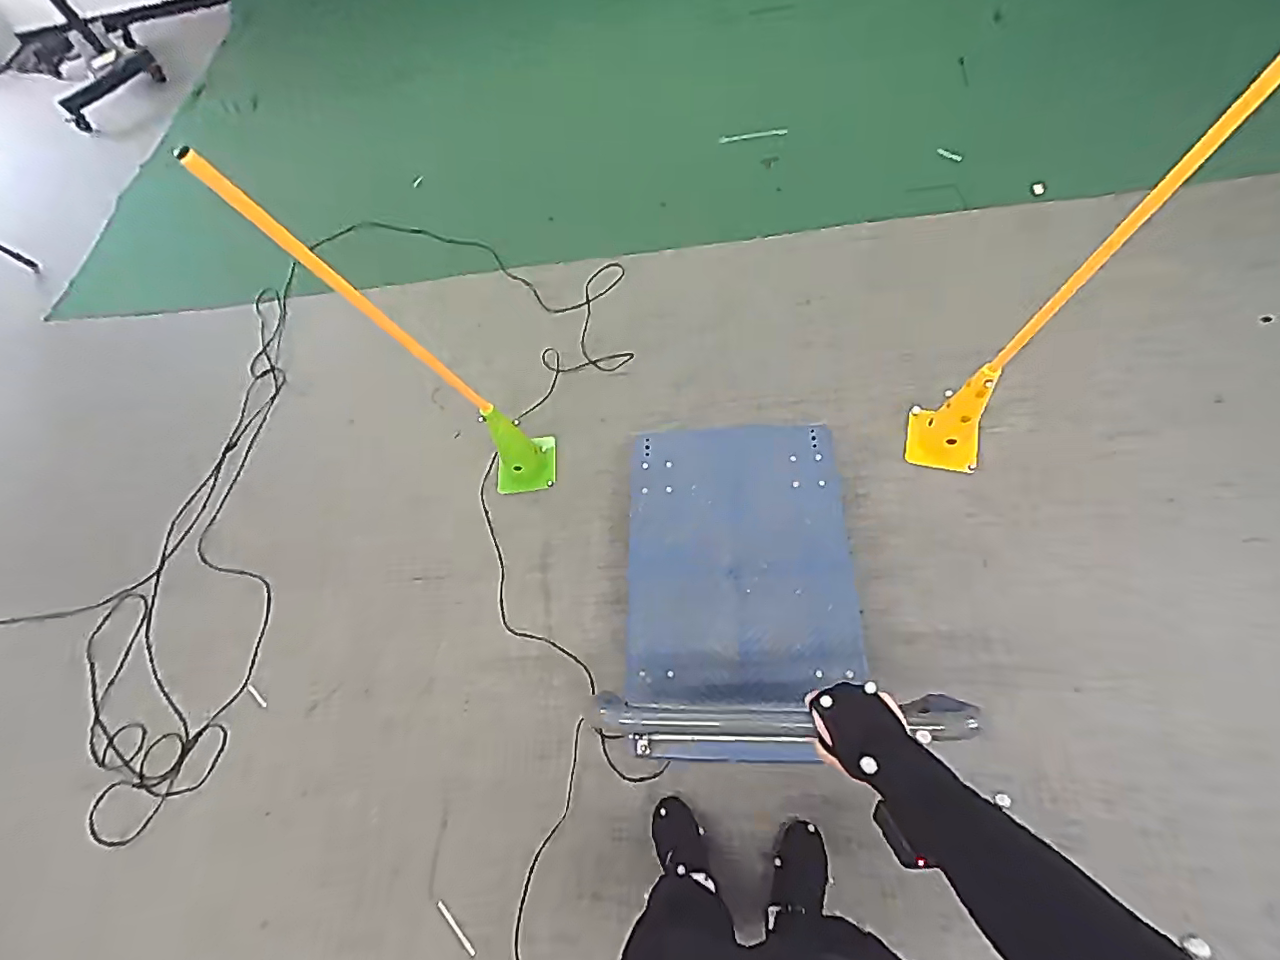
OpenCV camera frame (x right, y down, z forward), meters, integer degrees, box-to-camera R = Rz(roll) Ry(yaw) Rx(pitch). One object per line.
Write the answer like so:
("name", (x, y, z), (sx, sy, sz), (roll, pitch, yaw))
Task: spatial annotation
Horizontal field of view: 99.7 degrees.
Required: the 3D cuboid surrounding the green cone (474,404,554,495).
("green cone", (-0.416, -0.125, 1.677), (0.202, 0.368, 0.200), (-8, 62, 6))
